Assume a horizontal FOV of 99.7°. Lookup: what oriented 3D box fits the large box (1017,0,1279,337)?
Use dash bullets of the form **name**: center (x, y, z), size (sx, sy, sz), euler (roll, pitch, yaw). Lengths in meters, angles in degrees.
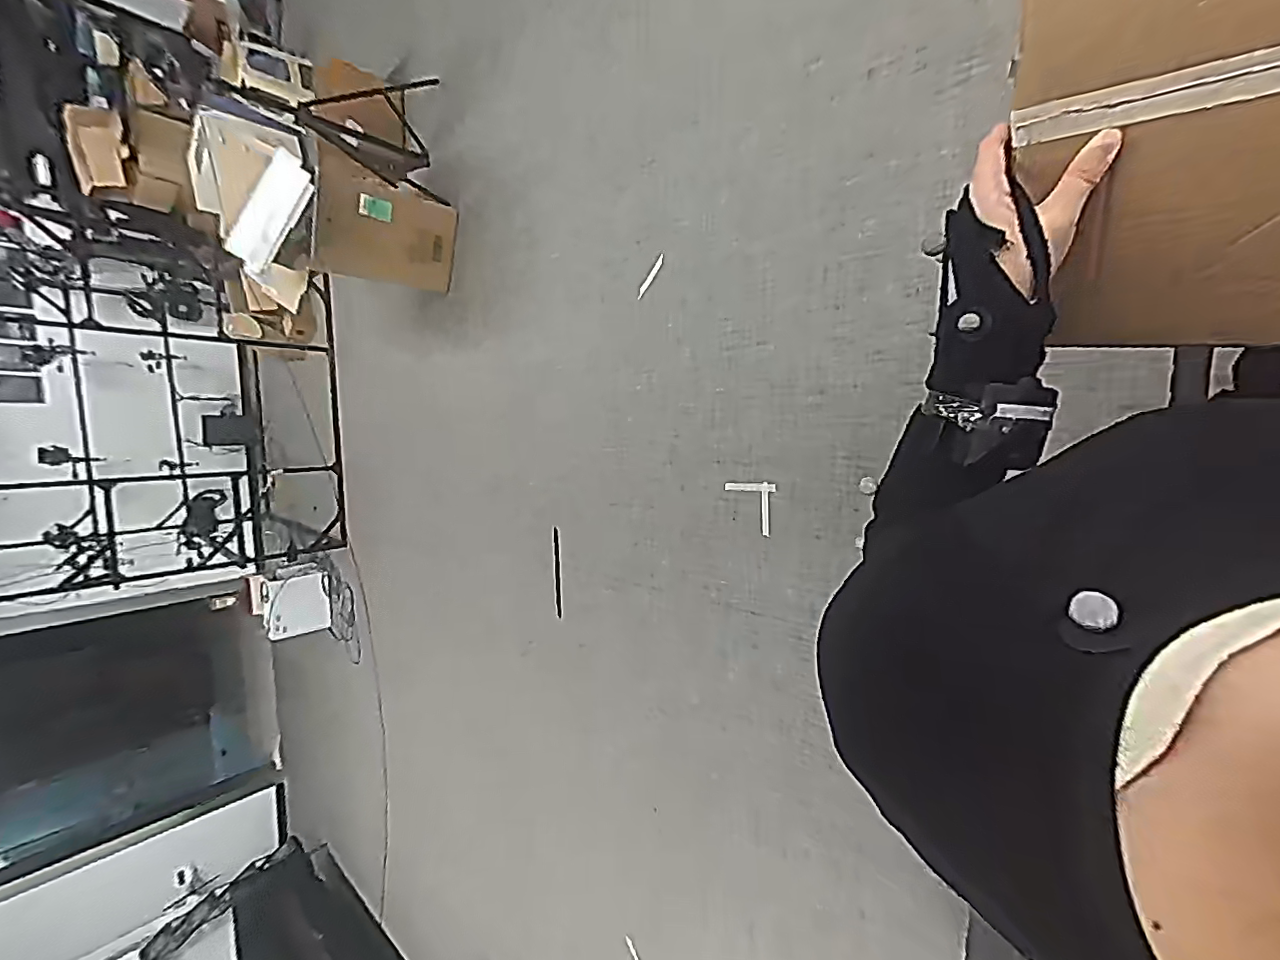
- **large box**: center (0.477, -0.298, 0.294), size (0.408, 0.320, 0.320), euler (11, 138, 42)
